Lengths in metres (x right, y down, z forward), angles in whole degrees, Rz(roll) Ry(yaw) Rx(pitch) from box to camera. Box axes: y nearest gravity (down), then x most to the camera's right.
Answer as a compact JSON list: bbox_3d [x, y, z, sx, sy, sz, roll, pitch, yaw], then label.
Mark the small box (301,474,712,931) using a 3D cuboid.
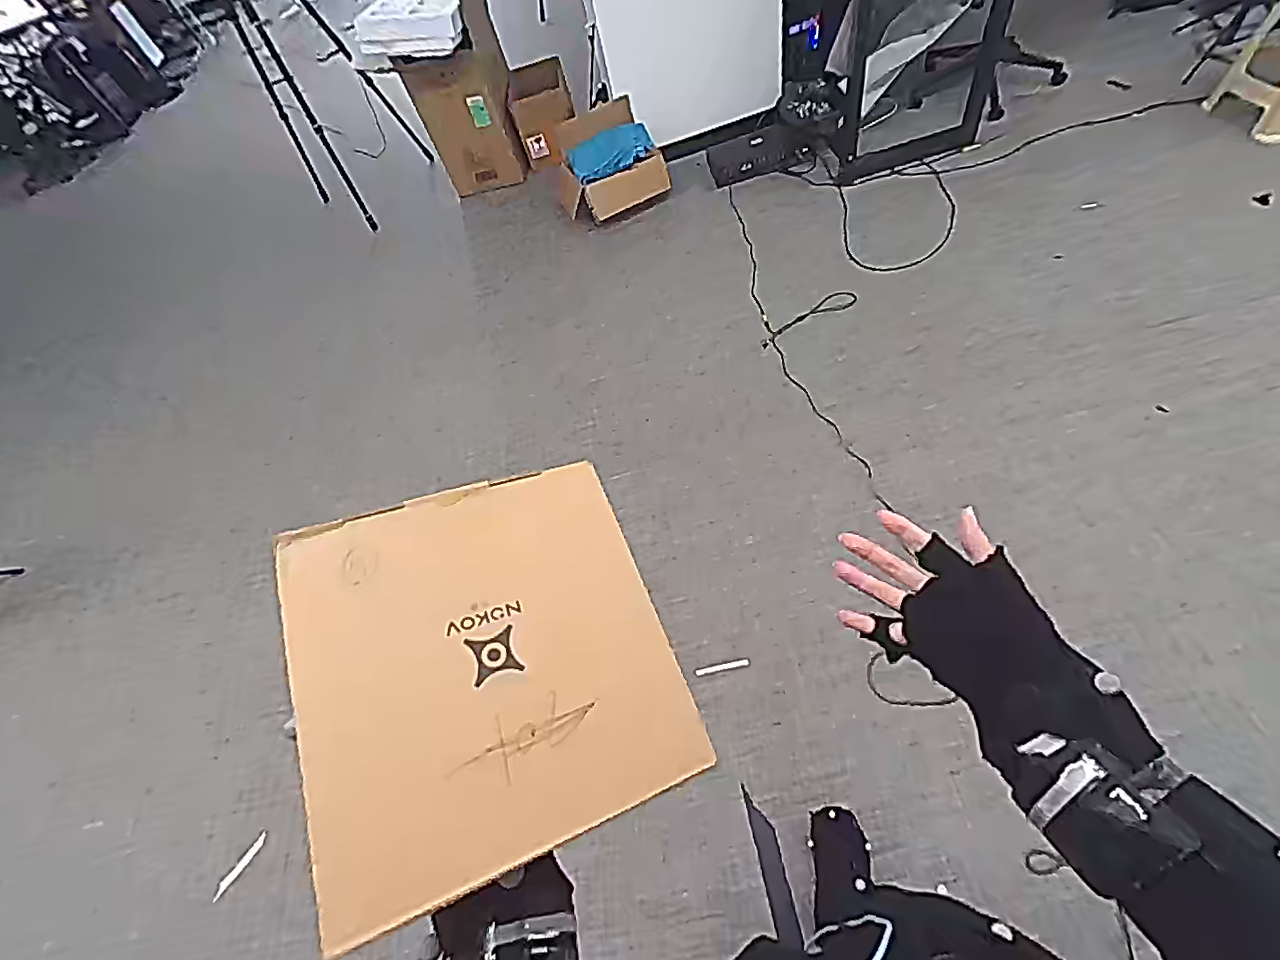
[{"bbox_3d":[-0.086,0.125,0.335,0.168,0.176,0.179,-14,64,-21],"label":"small box"}]
